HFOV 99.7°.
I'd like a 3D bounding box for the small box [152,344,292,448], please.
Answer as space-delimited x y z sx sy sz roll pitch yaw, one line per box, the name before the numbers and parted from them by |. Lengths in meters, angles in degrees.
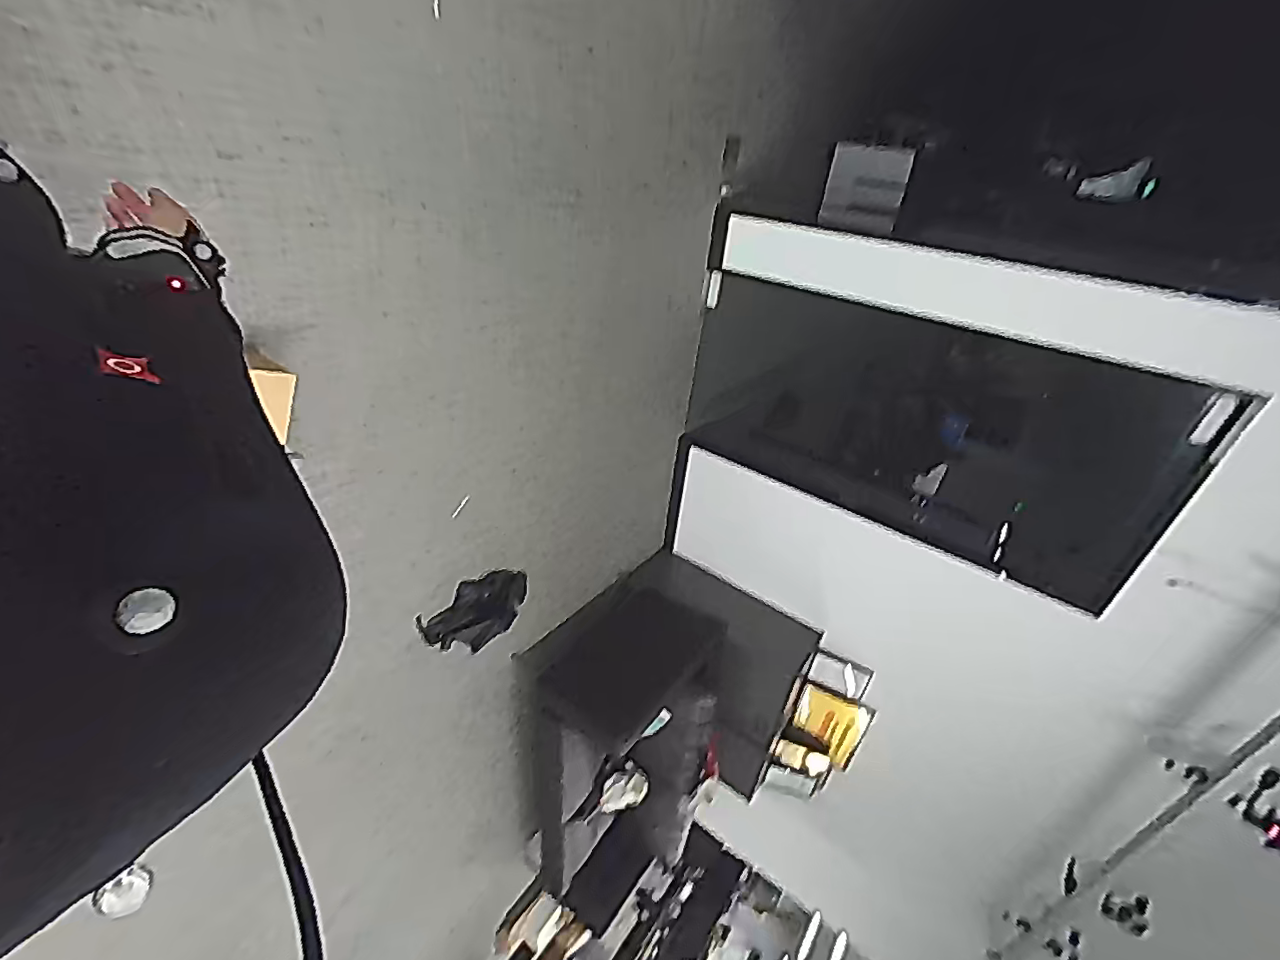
small box | -0.873 -0.175 1.131 0.179 0.176 0.168 -5 118 -58
